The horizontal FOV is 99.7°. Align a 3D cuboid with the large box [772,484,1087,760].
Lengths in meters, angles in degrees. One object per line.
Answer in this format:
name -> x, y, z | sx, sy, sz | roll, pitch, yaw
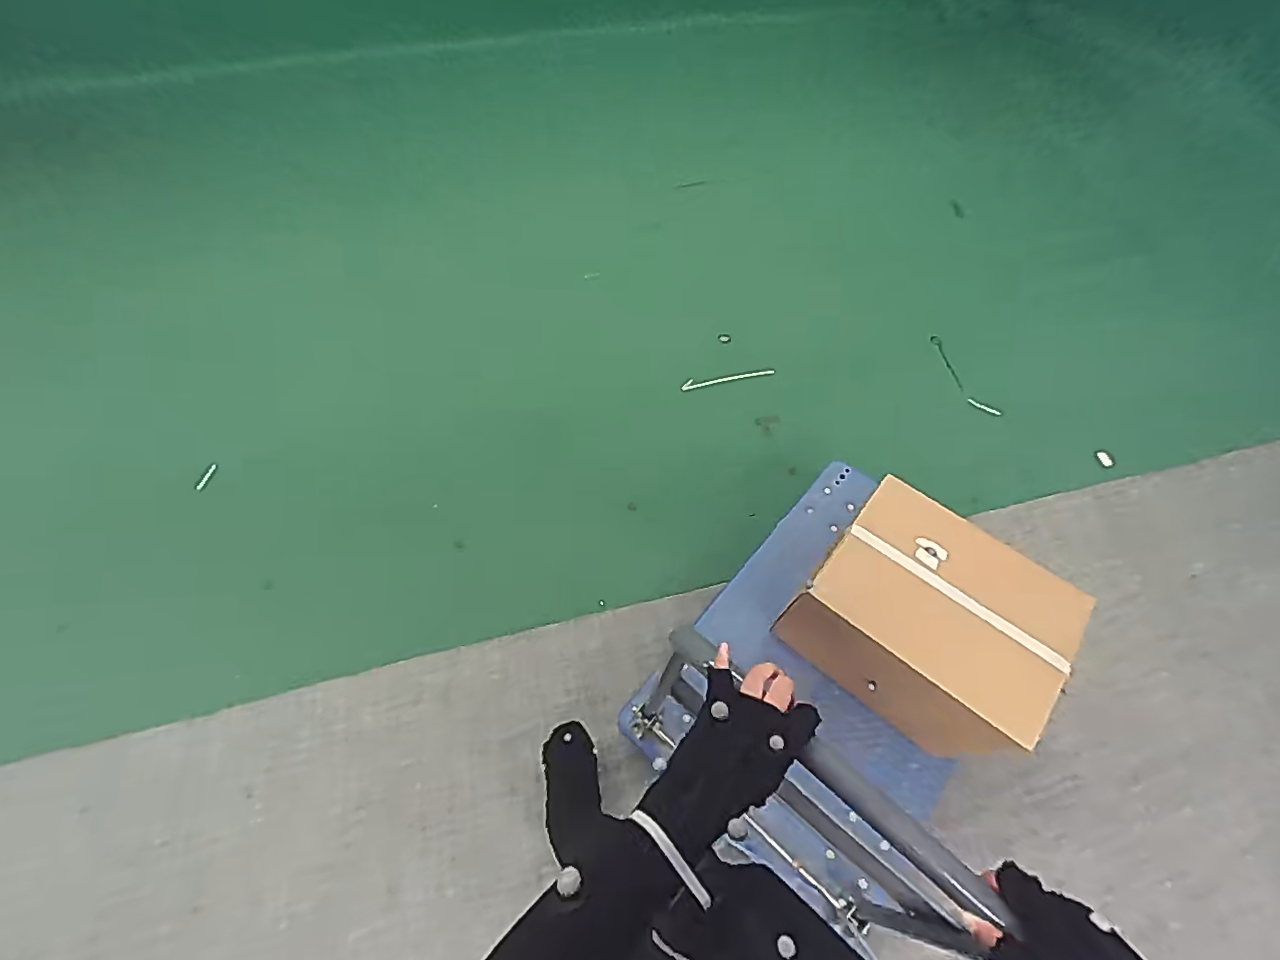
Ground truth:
large box -> 0.536, 0.287, 1.076 | 0.408, 0.320, 0.320 | 36, 66, 19
